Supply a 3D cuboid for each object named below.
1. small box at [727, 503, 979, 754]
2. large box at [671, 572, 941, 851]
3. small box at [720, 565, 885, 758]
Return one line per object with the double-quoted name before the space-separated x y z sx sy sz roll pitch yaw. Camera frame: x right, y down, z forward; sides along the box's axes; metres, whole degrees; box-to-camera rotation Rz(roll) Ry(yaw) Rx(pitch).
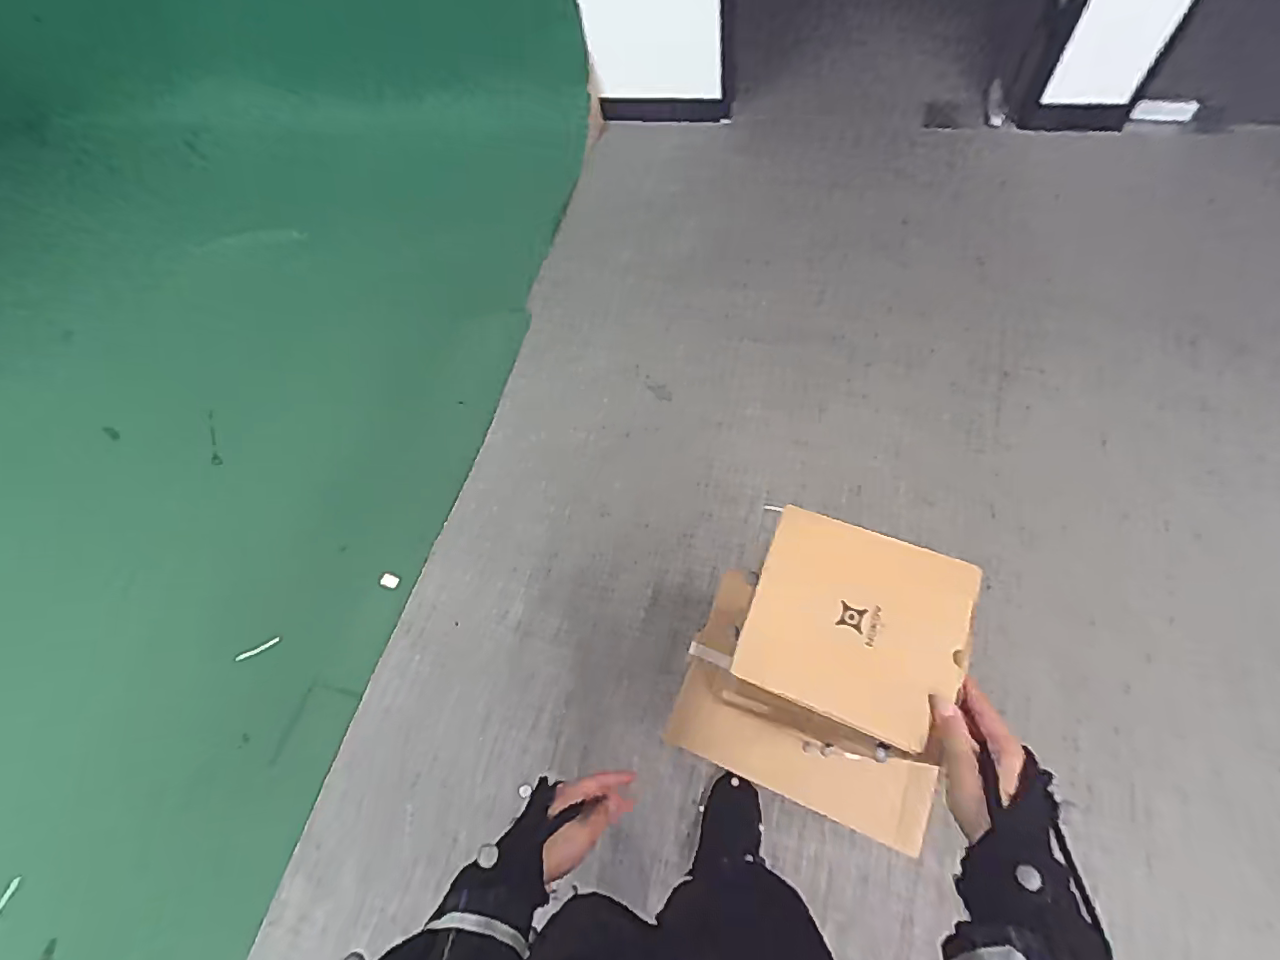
"small box" 0.191 0.149 0.530 0.179 0.176 0.168 18 69 15
"large box" 0.304 0.414 1.022 0.408 0.320 0.320 18 71 16
"small box" 0.207 0.224 0.673 0.179 0.176 0.168 15 68 16
